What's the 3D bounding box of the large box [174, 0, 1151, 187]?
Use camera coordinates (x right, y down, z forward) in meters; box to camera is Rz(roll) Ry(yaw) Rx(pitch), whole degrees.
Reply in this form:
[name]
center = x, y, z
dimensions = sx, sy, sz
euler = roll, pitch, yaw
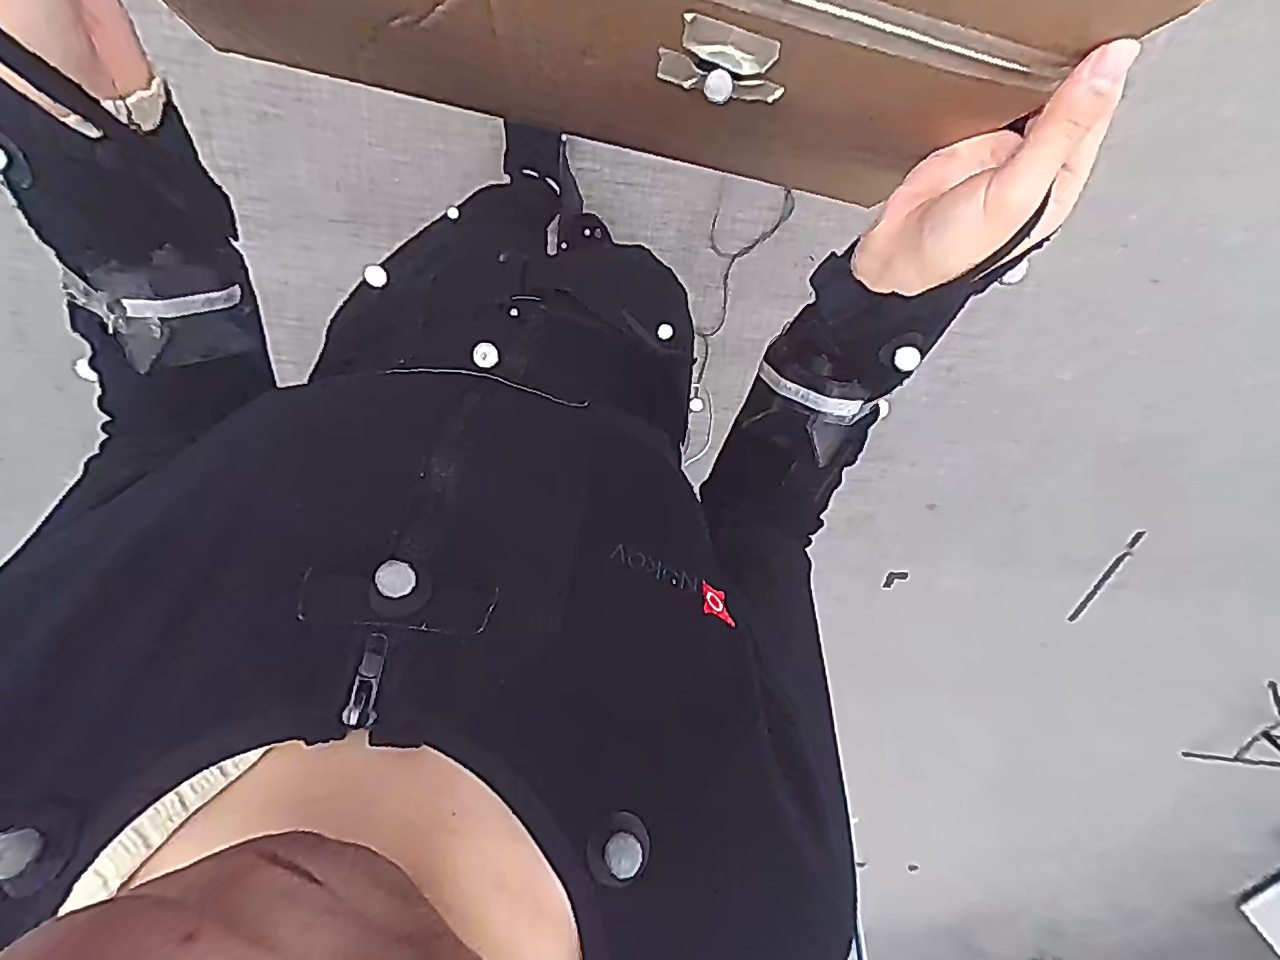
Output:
[large box]
center = -0.003, -0.345, 0.167
dimensions = 0.408, 0.320, 0.320
euler = 7, 99, -8
